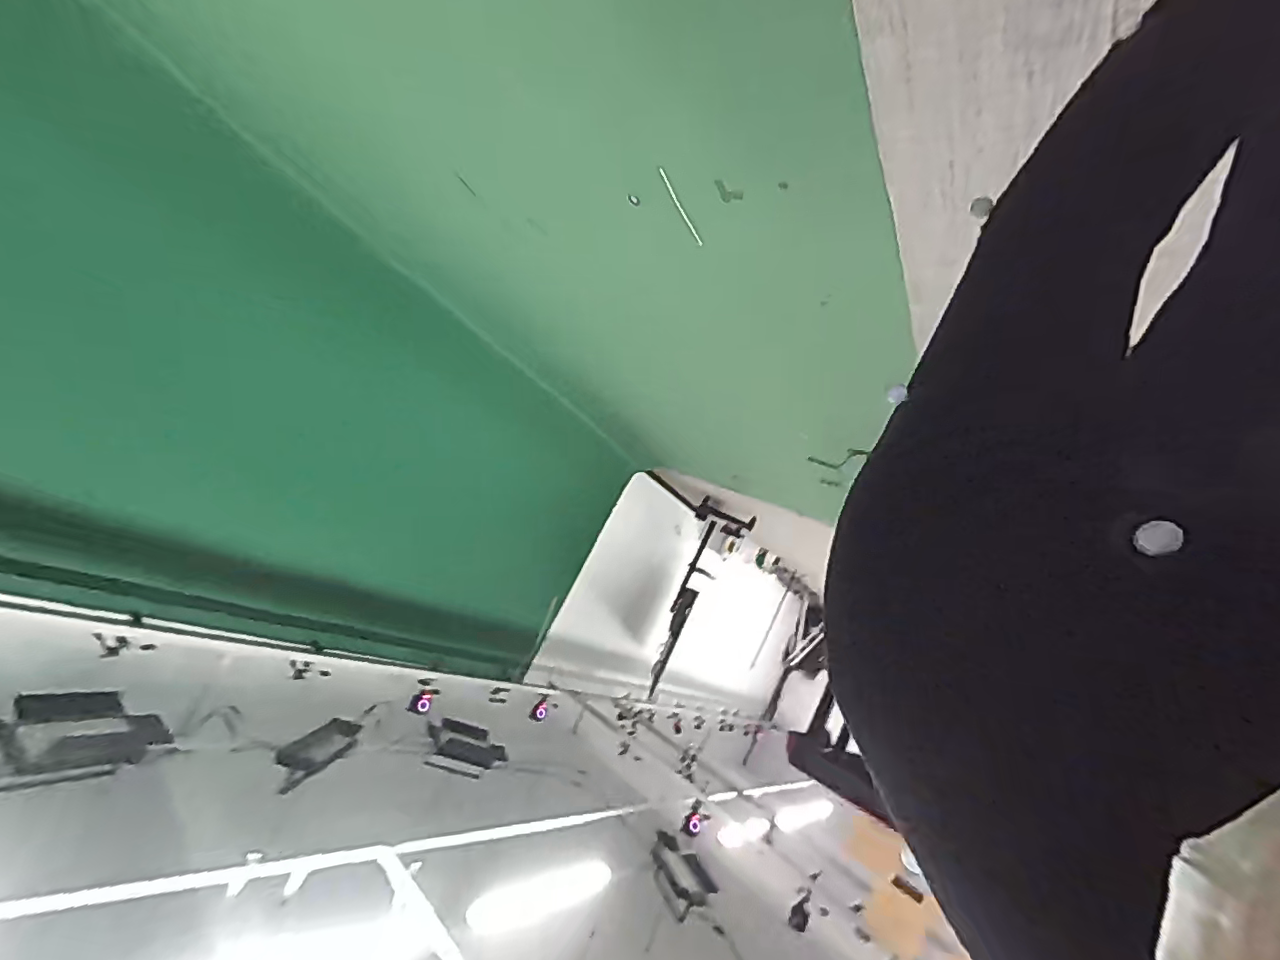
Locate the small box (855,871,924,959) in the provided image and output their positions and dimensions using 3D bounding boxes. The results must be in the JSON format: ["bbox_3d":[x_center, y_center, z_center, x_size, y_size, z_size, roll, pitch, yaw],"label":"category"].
[{"bbox_3d":[0.856,1.476,1.840,0.168,0.176,0.179,20,169,37],"label":"small box"}]

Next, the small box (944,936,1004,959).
[{"bbox_3d":[1.048,1.551,1.685,0.168,0.176,0.179,20,168,36],"label":"small box"}]
